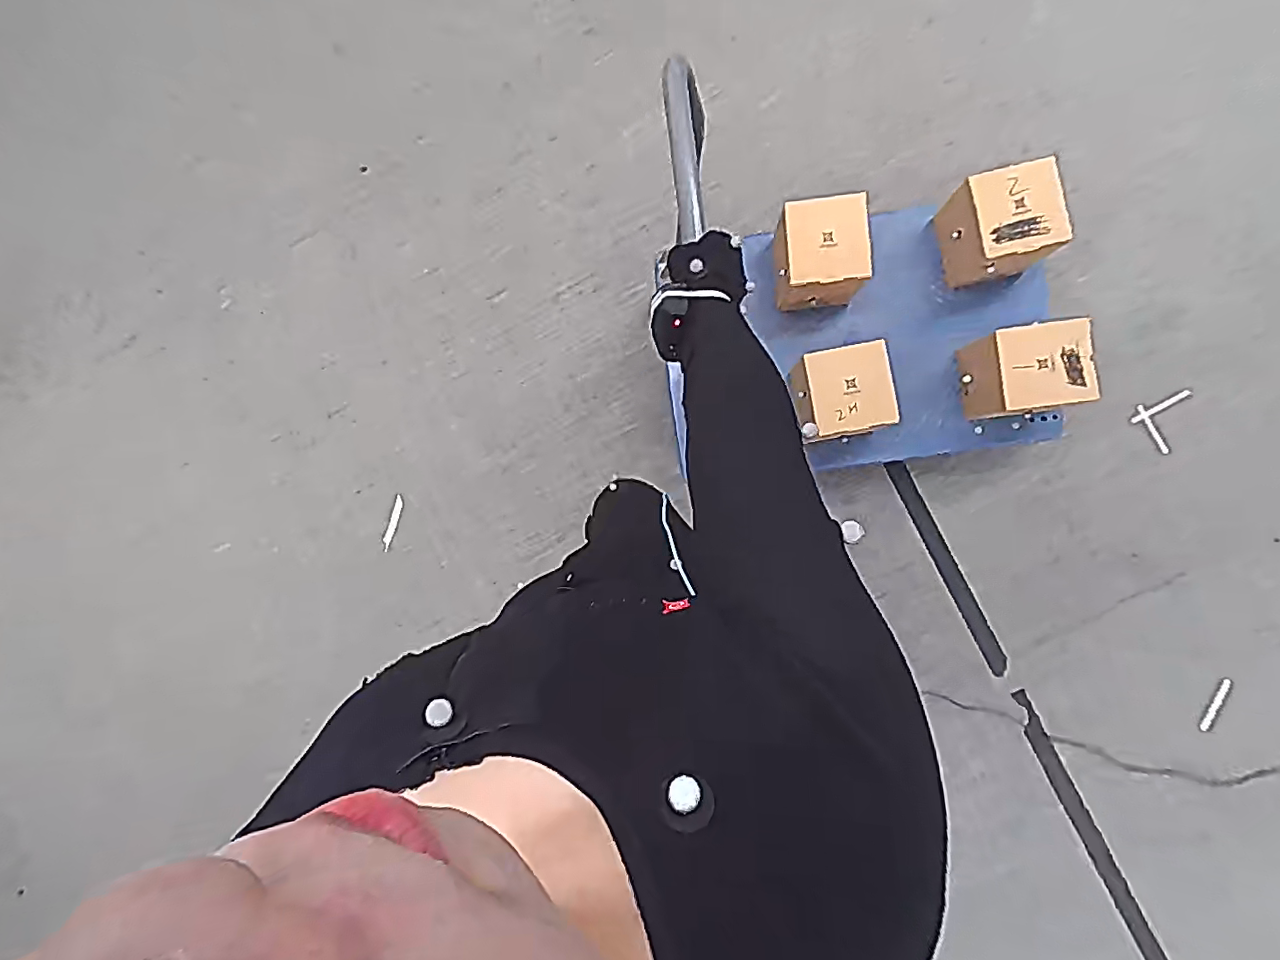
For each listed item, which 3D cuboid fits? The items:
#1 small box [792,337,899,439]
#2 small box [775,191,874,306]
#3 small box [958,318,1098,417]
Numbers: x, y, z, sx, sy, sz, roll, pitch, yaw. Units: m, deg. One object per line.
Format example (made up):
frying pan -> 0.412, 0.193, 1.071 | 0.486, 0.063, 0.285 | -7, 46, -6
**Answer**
small box -> 0.439, -0.193, 1.181 | 0.168, 0.176, 0.179 | -9, 89, 5
small box -> 0.397, -0.500, 1.188 | 0.168, 0.176, 0.179 | -5, 91, 5
small box -> 0.811, -0.230, 1.146 | 0.179, 0.176, 0.168 | -6, 89, 7
